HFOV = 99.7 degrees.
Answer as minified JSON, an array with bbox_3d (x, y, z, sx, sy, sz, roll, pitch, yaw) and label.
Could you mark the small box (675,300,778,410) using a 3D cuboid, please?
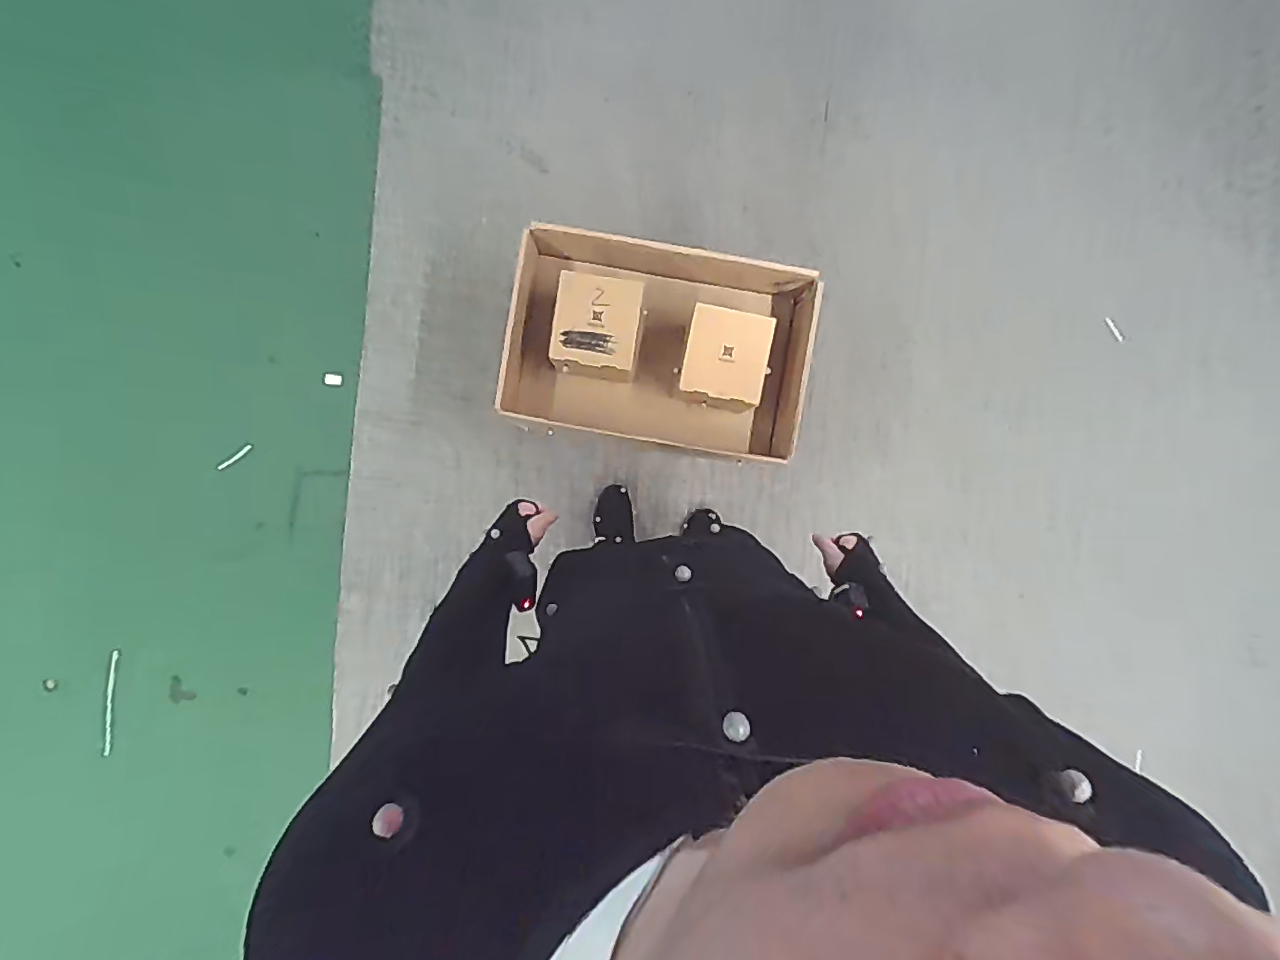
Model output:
[{"bbox_3d":[0.171,-0.252,1.128,0.168,0.176,0.179,11,92,-1],"label":"small box"}]
